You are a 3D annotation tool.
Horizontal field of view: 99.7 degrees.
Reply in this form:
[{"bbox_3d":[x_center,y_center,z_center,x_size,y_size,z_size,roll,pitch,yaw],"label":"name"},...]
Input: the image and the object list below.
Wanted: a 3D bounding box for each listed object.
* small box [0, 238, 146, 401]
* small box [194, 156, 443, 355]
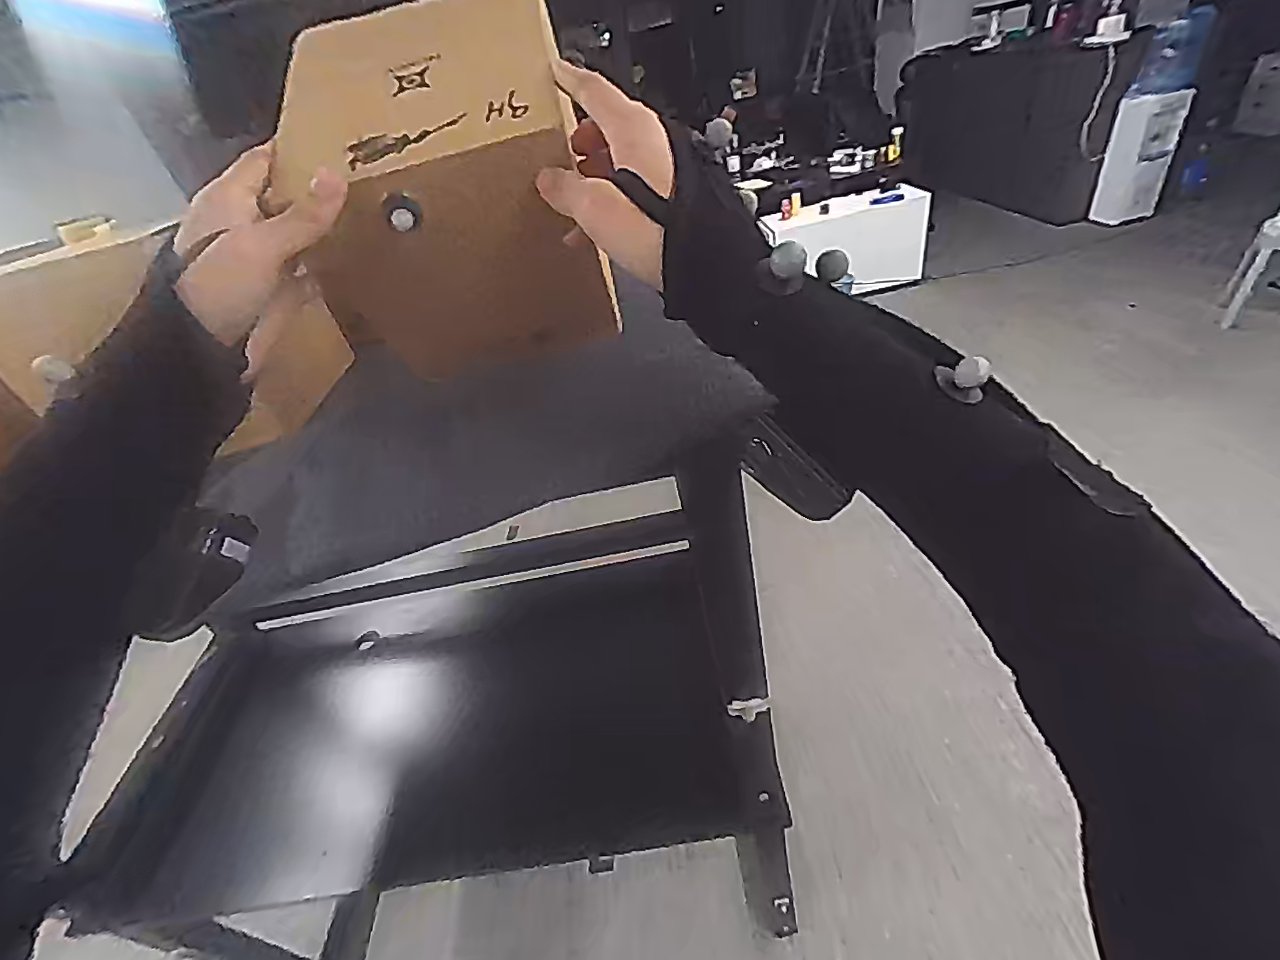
[{"bbox_3d":[-0.796,-0.179,0.678,0.168,0.176,0.179,-11,36,4],"label":"small box"},{"bbox_3d":[-0.359,-0.271,0.651,0.168,0.176,0.179,-11,36,5],"label":"small box"}]
